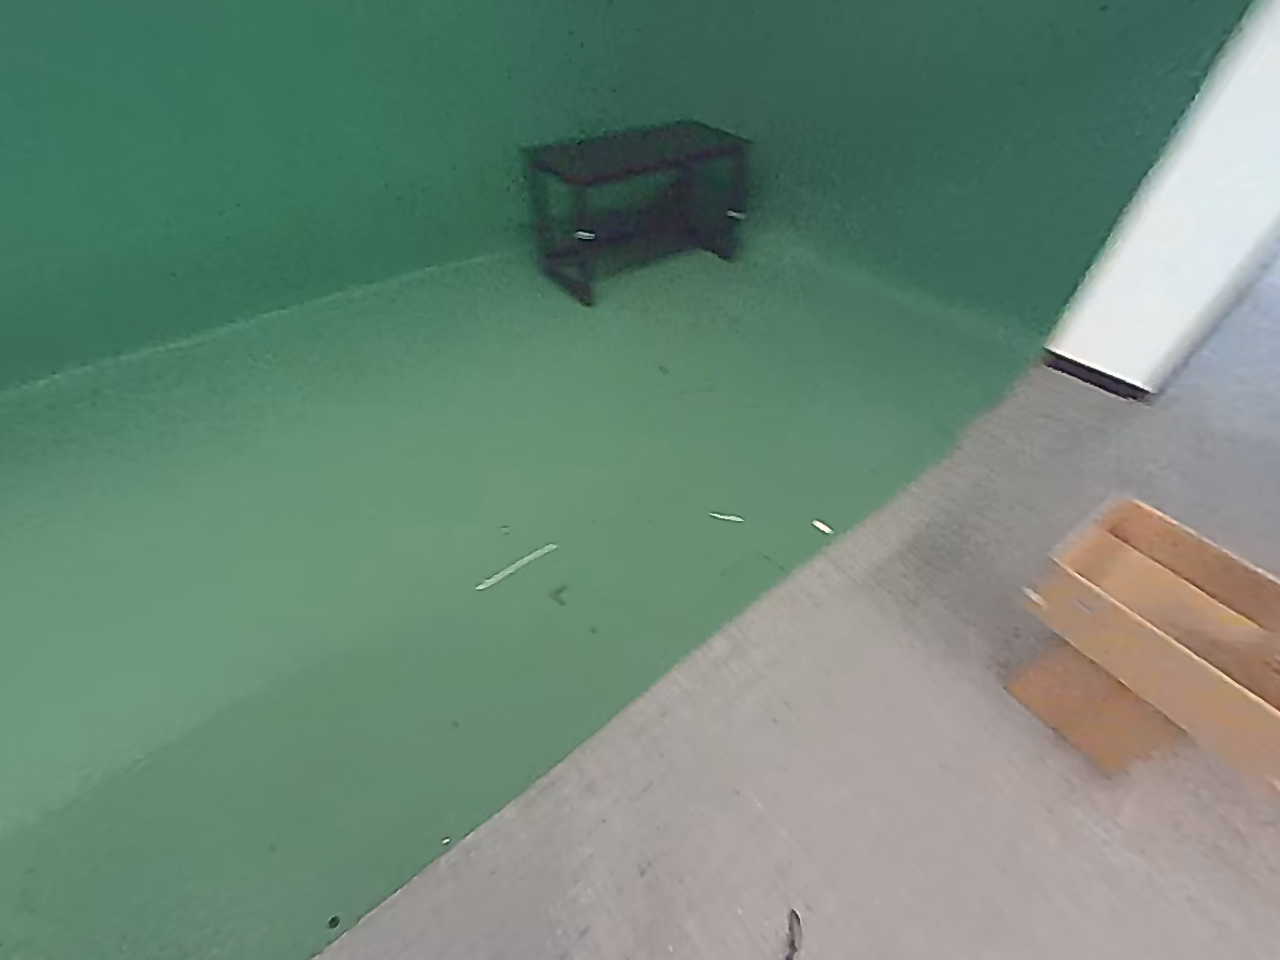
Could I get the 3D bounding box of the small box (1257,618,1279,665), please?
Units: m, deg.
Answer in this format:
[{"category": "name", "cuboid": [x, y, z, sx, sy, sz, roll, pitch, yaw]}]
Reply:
[{"category": "small box", "cuboid": [1.392, 0.318, 1.057, 0.179, 0.176, 0.168, -24, 50, -22]}]
